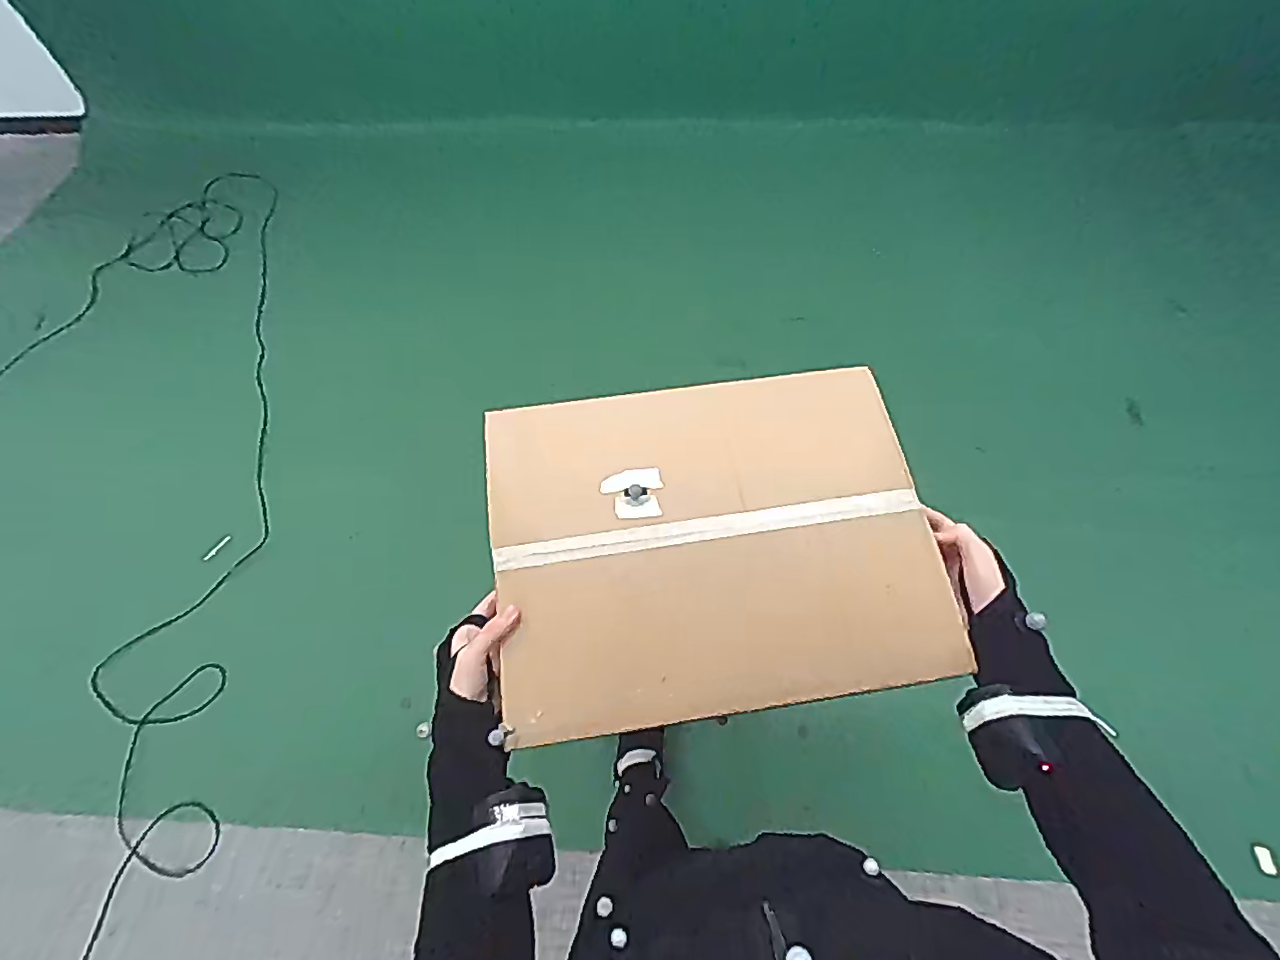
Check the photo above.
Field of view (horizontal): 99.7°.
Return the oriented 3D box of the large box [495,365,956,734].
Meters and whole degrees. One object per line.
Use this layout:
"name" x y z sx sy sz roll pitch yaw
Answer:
"large box" 0.069 0.097 0.663 0.408 0.320 0.320 -8 69 -3
